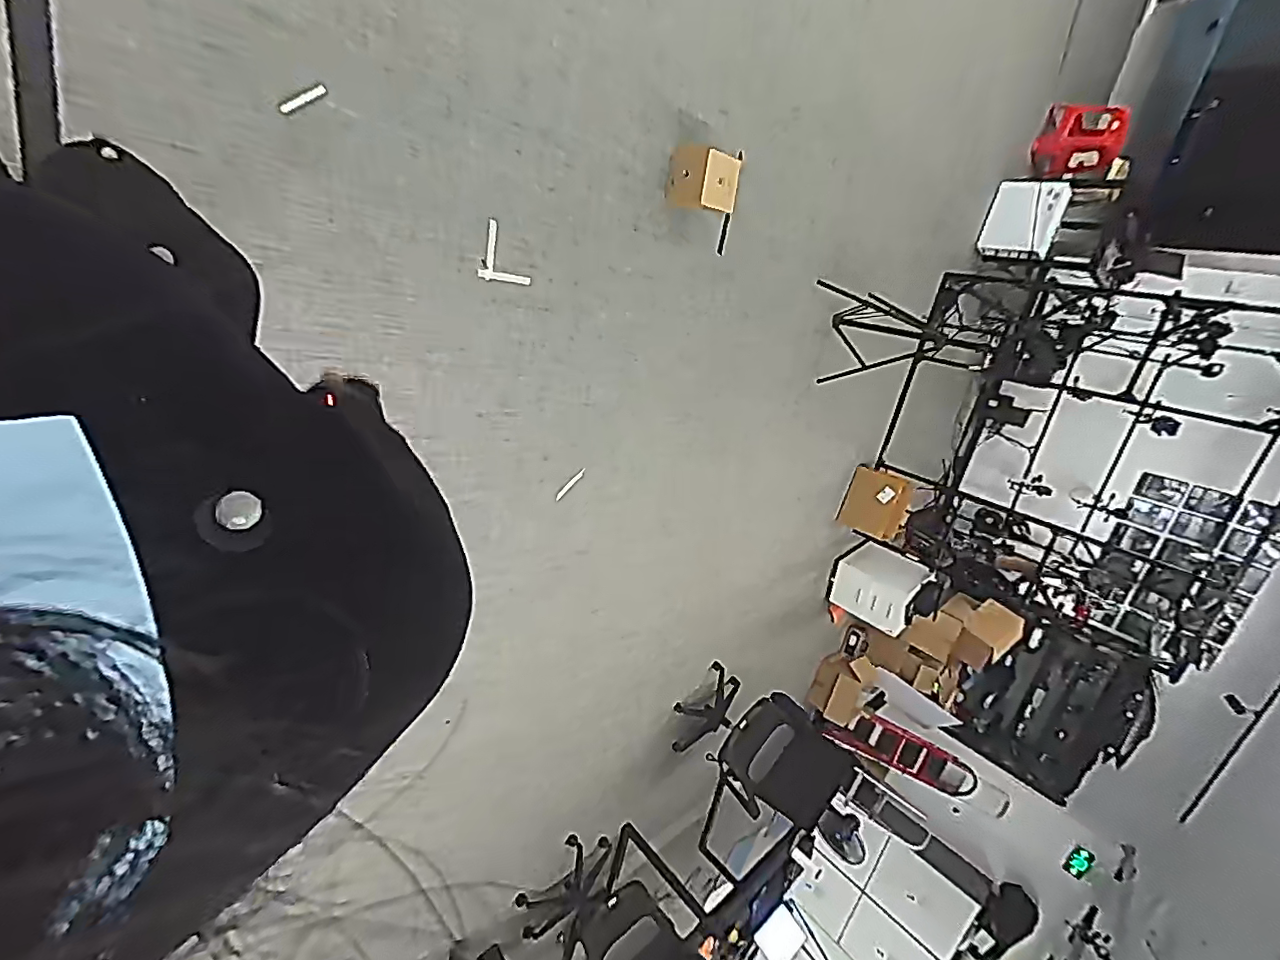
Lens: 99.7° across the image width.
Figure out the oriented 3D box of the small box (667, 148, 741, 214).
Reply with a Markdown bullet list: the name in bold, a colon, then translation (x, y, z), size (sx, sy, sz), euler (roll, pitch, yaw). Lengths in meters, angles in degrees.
- **small box**: translation (0.216, -1.023, 1.861), size (0.179, 0.176, 0.168), euler (-11, 119, -44)
